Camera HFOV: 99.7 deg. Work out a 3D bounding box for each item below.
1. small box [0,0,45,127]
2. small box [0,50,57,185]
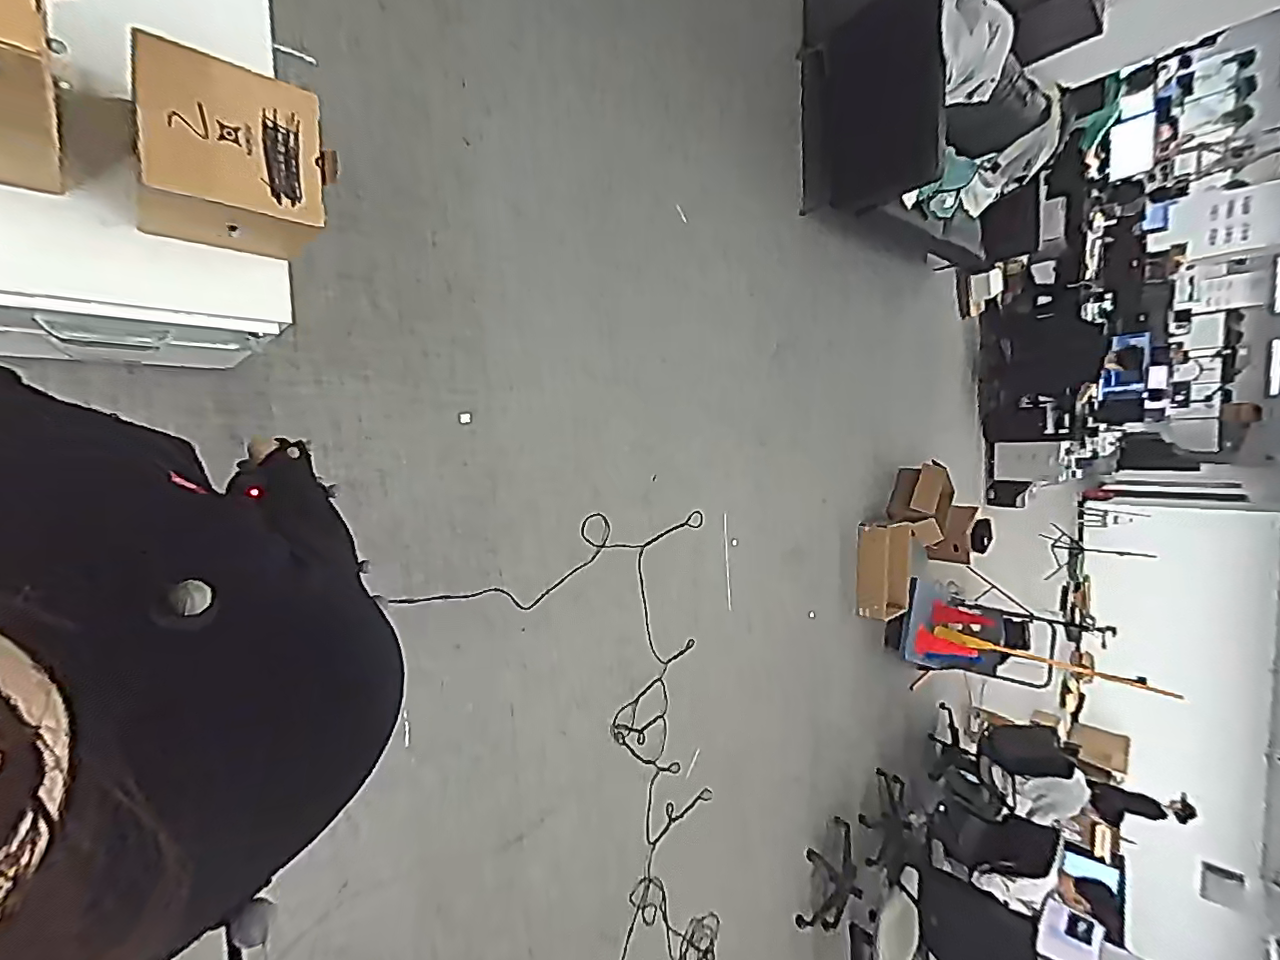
[{"bbox_3d":[-0.580,-0.406,0.402,0.179,0.176,0.168,-5,94,-47],"label":"small box"},{"bbox_3d":[-0.698,-0.412,0.515,0.179,0.176,0.168,-8,97,-45],"label":"small box"}]
